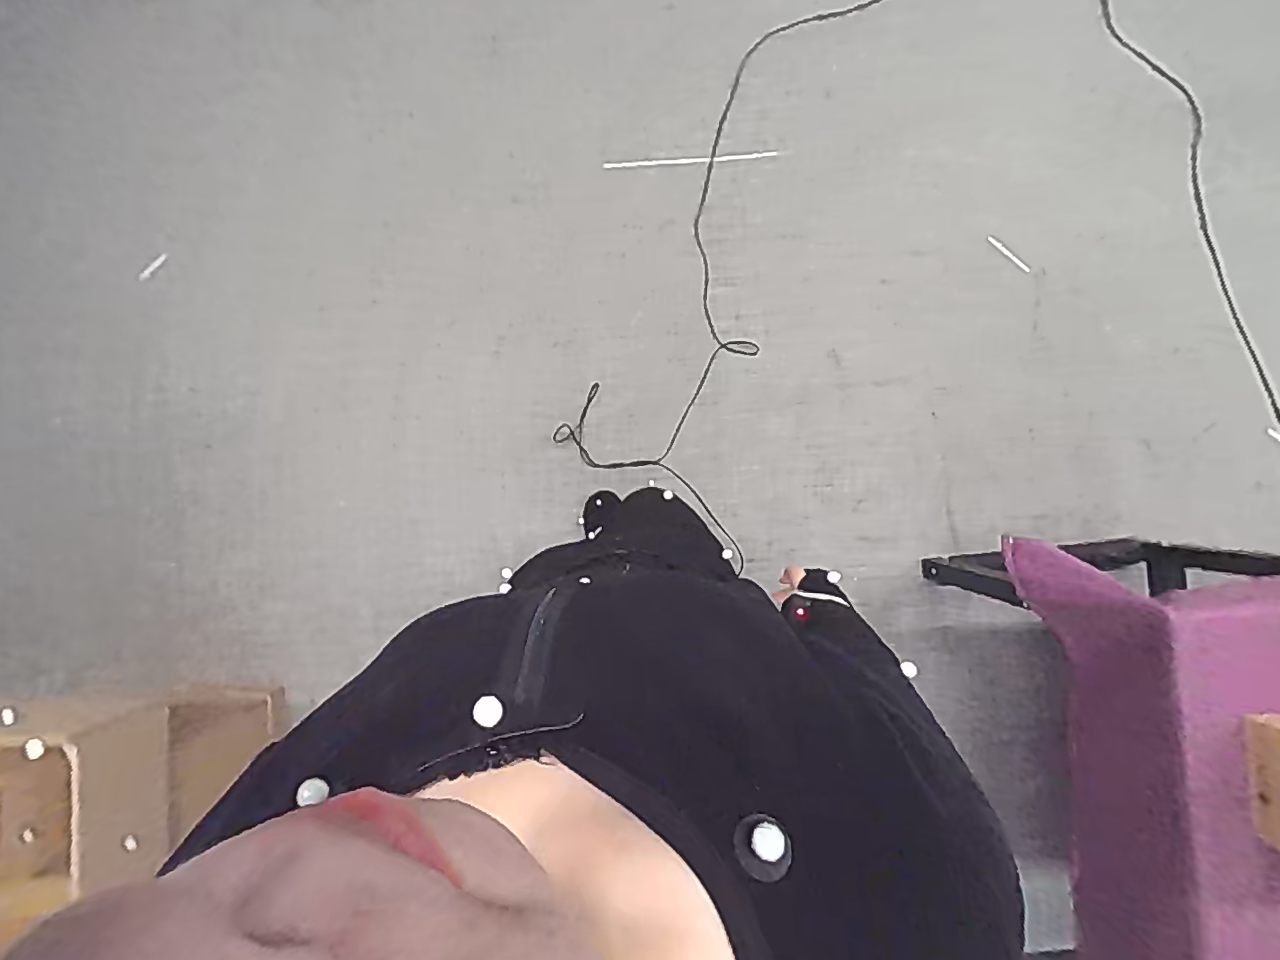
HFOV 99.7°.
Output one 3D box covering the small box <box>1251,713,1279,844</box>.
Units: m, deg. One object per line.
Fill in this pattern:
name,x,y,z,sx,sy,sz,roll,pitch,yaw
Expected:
small box,0.918,0.399,0.662,0.179,0.176,0.168,-3,90,1
